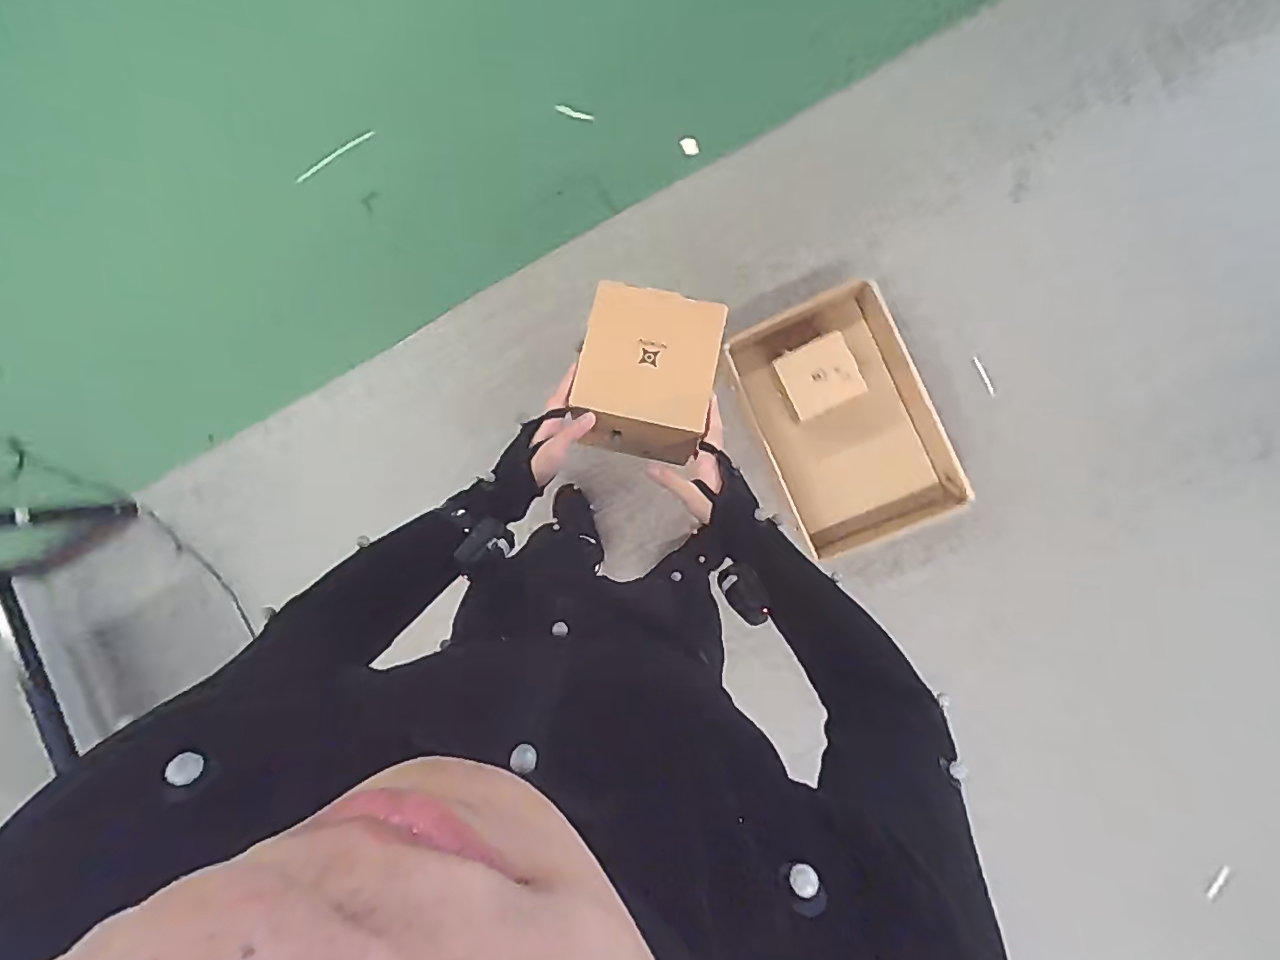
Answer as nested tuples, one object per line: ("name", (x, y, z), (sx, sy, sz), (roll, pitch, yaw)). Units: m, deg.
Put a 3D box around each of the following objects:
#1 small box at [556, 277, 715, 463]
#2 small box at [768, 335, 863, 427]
("small box", (-0.006, -0.134, 0.722), (0.168, 0.176, 0.179), (11, 75, 0))
("small box", (0.441, -0.244, 1.389), (0.179, 0.176, 0.168), (-24, 88, 10))
